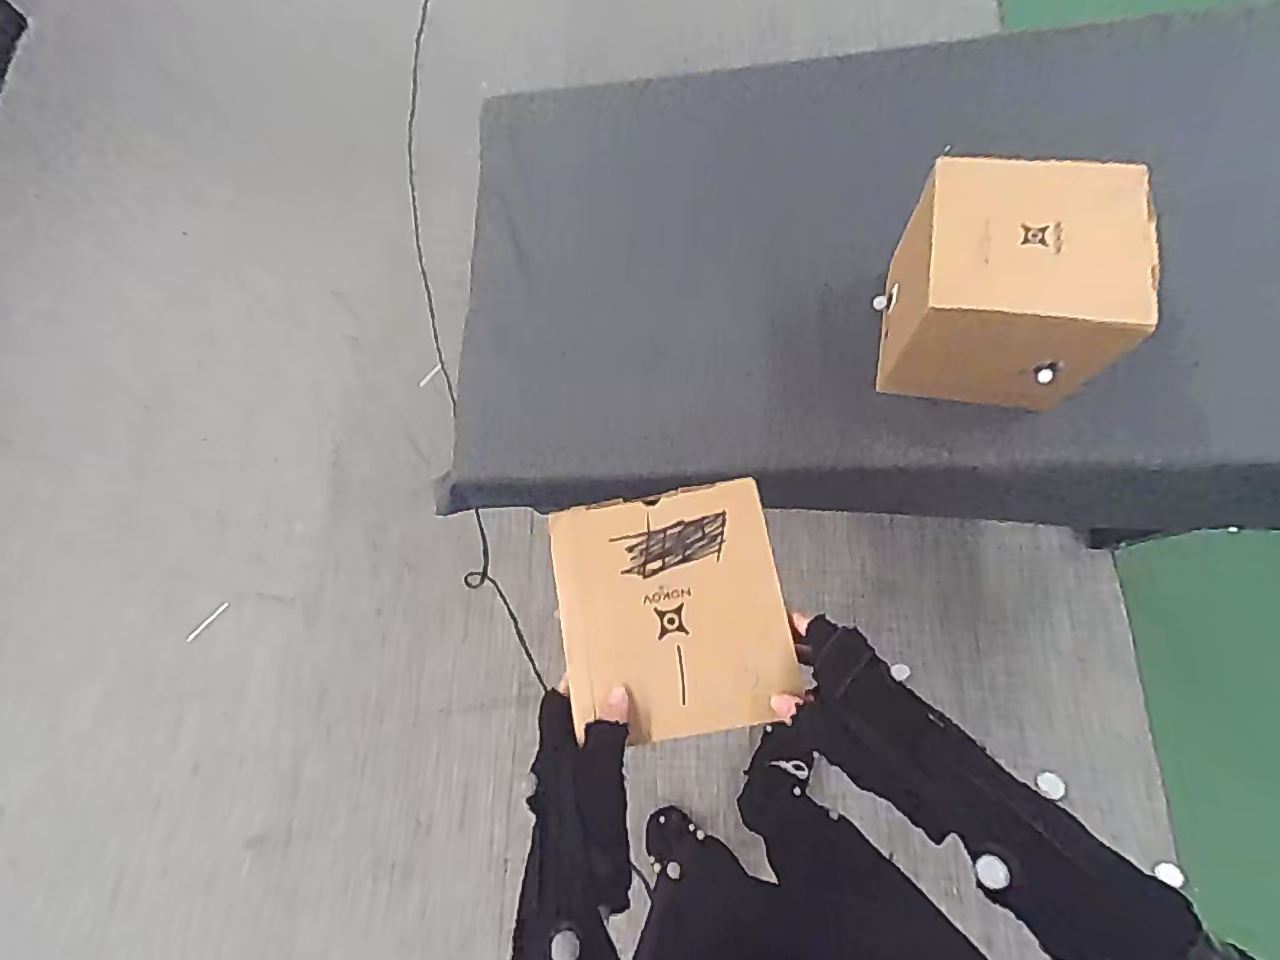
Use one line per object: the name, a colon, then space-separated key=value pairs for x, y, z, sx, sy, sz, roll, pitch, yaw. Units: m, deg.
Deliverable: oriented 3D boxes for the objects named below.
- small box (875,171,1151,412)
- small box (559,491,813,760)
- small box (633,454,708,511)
small box: x=0.360 y=-0.181 z=0.554 sx=0.179 sy=0.176 sz=0.168 roll=7 pitch=73 yaw=11
small box: x=0.032 y=0.126 z=0.479 sx=0.168 sy=0.176 sz=0.179 roll=-10 pitch=73 yaw=1
small box: x=0.079 y=0.049 z=1.289 sx=0.168 sy=0.176 sz=0.179 roll=-4 pitch=73 yaw=7
